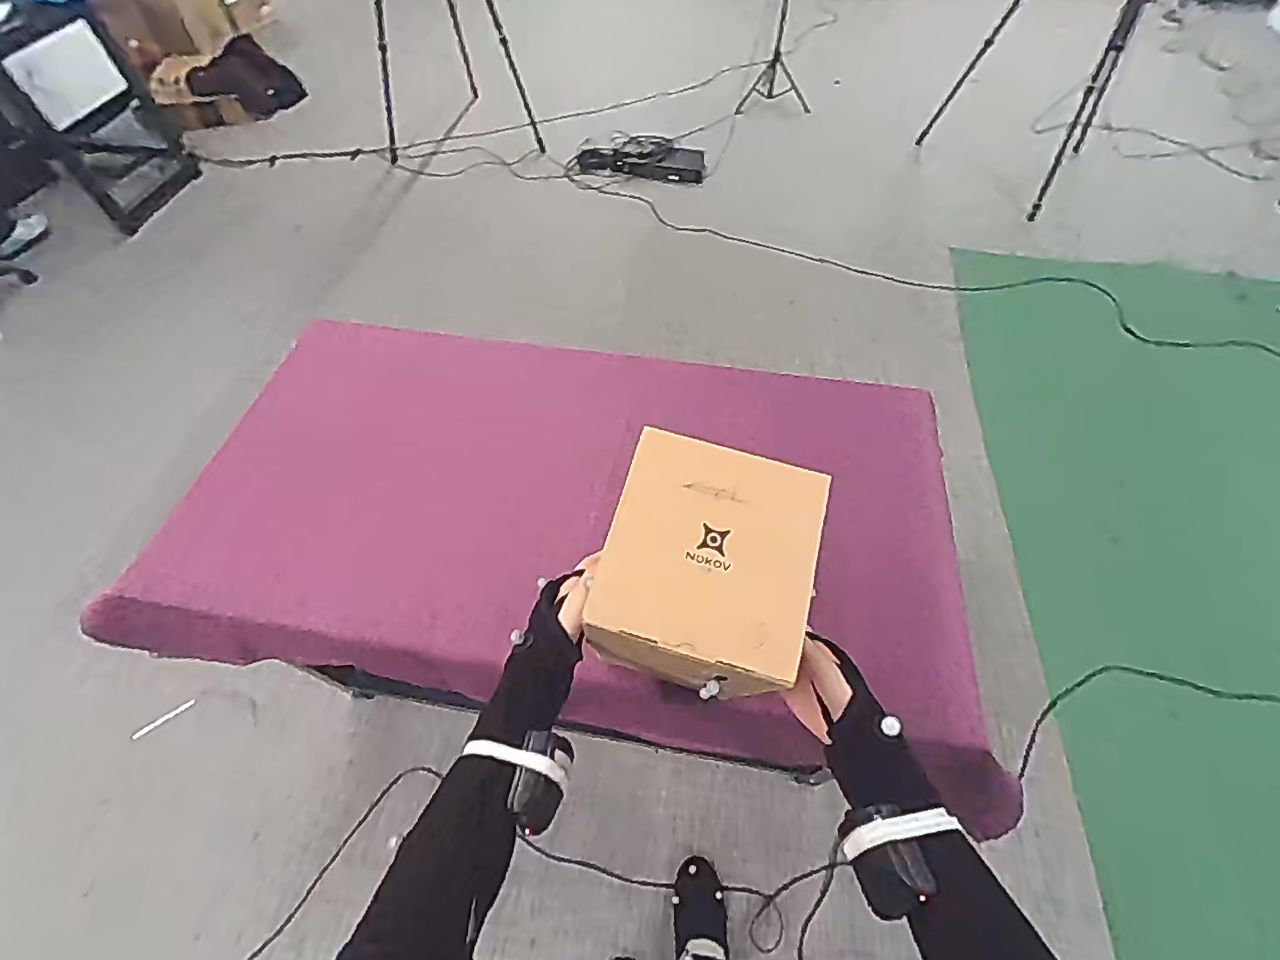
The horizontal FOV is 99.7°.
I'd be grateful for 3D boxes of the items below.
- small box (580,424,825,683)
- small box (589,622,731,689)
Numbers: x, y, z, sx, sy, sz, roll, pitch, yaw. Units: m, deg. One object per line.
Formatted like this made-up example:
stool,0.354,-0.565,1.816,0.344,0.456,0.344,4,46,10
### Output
small box,0.055,0.080,0.509,0.168,0.176,0.179,16,66,5
small box,0.050,0.146,0.657,0.179,0.176,0.168,16,67,6
